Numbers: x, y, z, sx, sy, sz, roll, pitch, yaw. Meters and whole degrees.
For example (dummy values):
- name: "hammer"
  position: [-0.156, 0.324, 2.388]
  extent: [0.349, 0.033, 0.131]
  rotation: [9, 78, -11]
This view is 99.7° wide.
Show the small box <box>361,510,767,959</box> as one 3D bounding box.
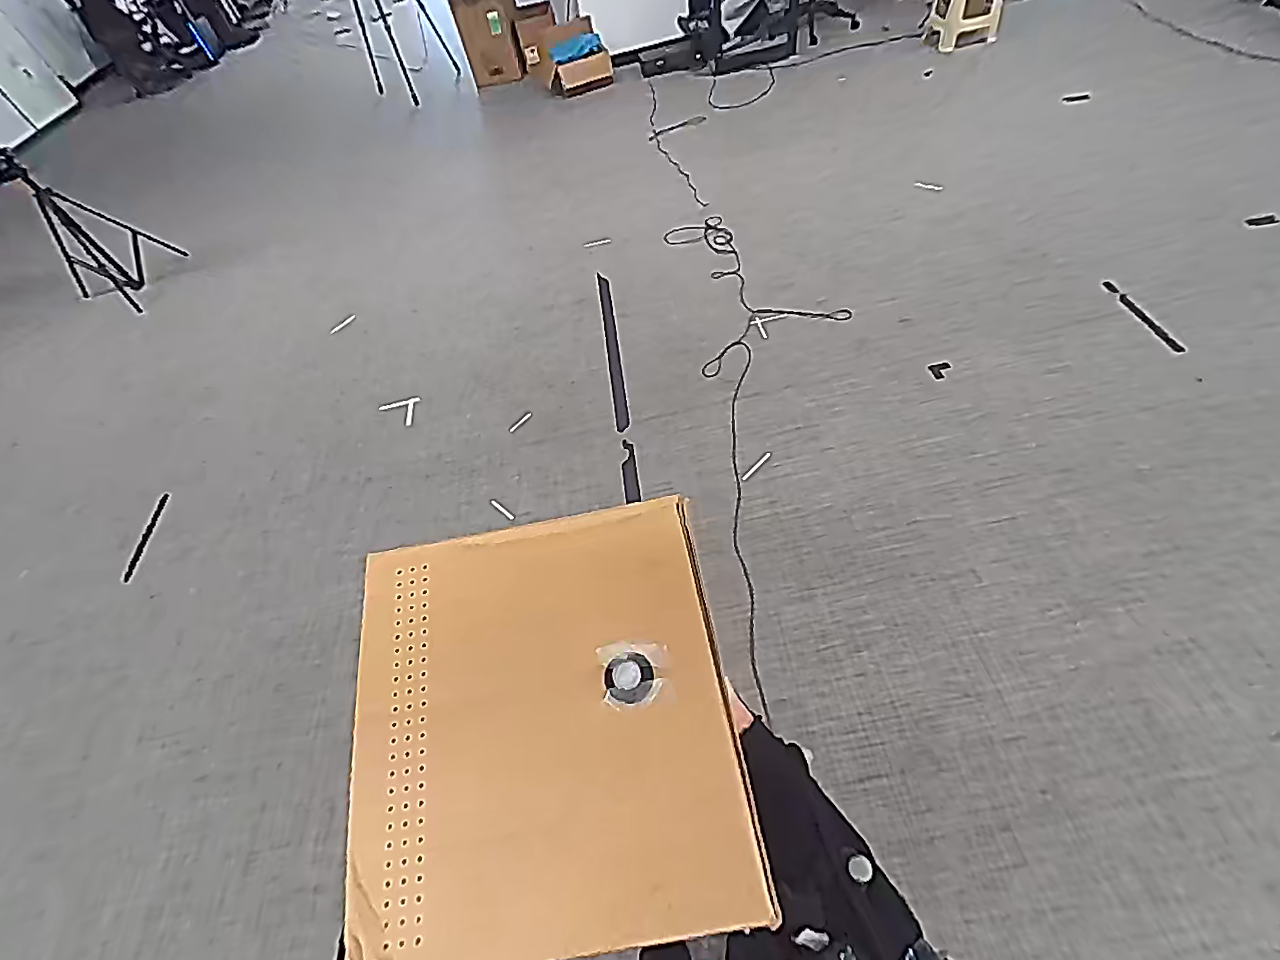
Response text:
- name: "small box"
  position: [-0.038, 0.142, 0.317]
  extent: [0.176, 0.168, 0.179]
  rotation: [-11, 62, 2]
